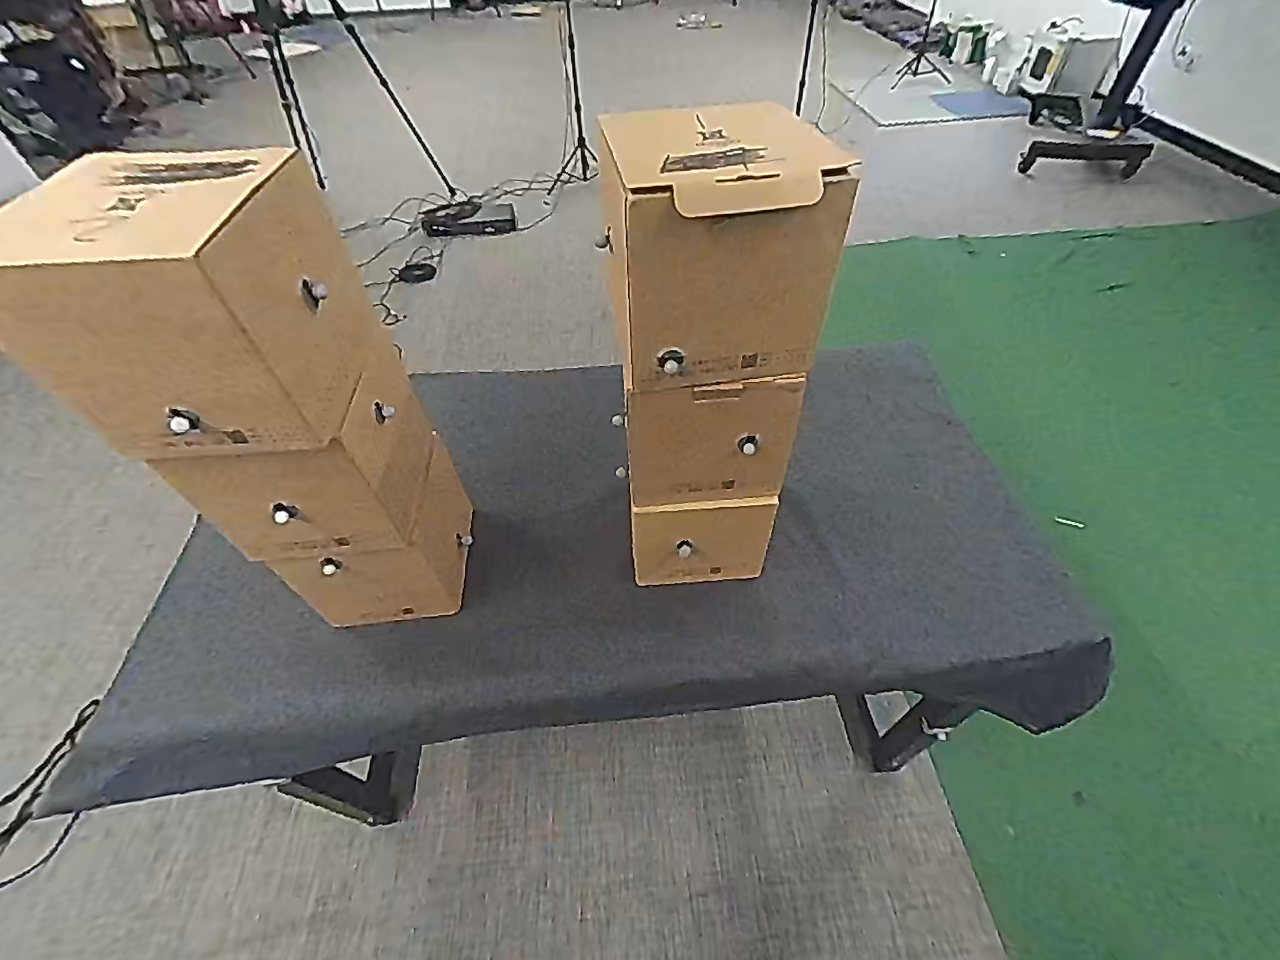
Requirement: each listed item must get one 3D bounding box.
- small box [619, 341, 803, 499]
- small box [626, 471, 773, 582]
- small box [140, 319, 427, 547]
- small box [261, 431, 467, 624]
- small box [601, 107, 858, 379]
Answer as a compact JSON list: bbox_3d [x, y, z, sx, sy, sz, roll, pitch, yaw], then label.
[{"bbox_3d":[0.063,-0.091,0.599,0.168,0.176,0.179,-3,47,-3],"label":"small box"},{"bbox_3d":[0.067,0.023,0.714,0.168,0.176,0.179,-4,49,-1],"label":"small box"},{"bbox_3d":[-0.337,-0.042,0.560,0.168,0.176,0.179,-4,49,-3],"label":"small box"},{"bbox_3d":[-0.328,0.061,0.690,0.168,0.176,0.179,-5,49,-3],"label":"small box"},{"bbox_3d":[0.060,-0.203,0.478,0.168,0.176,0.179,-7,48,-6],"label":"small box"}]
